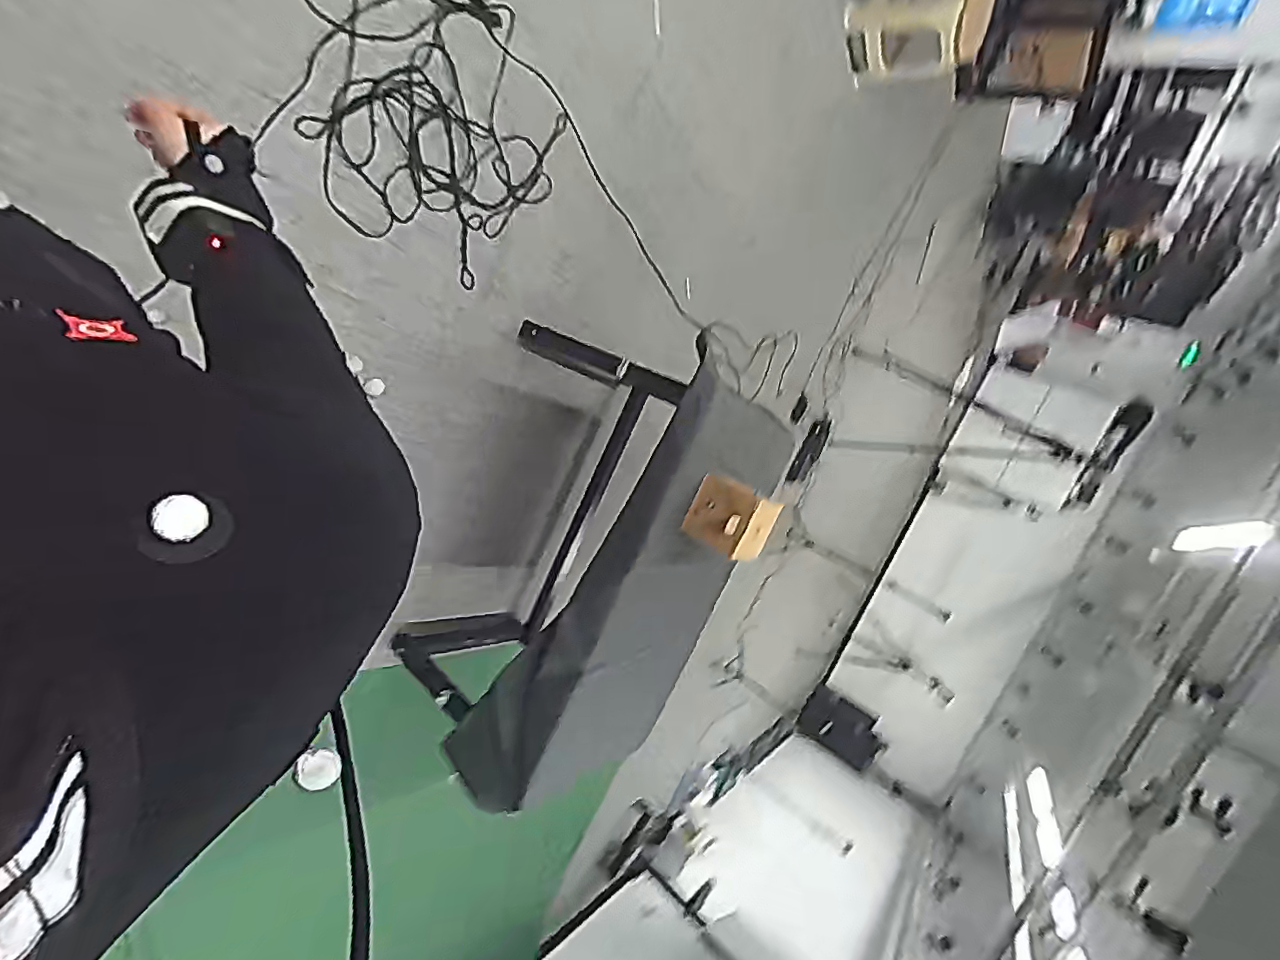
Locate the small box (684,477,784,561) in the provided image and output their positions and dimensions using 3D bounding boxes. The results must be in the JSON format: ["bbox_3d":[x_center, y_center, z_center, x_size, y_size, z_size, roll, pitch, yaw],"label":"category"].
[{"bbox_3d":[0.250,0.103,1.439,0.179,0.176,0.168,12,105,-56],"label":"small box"}]
